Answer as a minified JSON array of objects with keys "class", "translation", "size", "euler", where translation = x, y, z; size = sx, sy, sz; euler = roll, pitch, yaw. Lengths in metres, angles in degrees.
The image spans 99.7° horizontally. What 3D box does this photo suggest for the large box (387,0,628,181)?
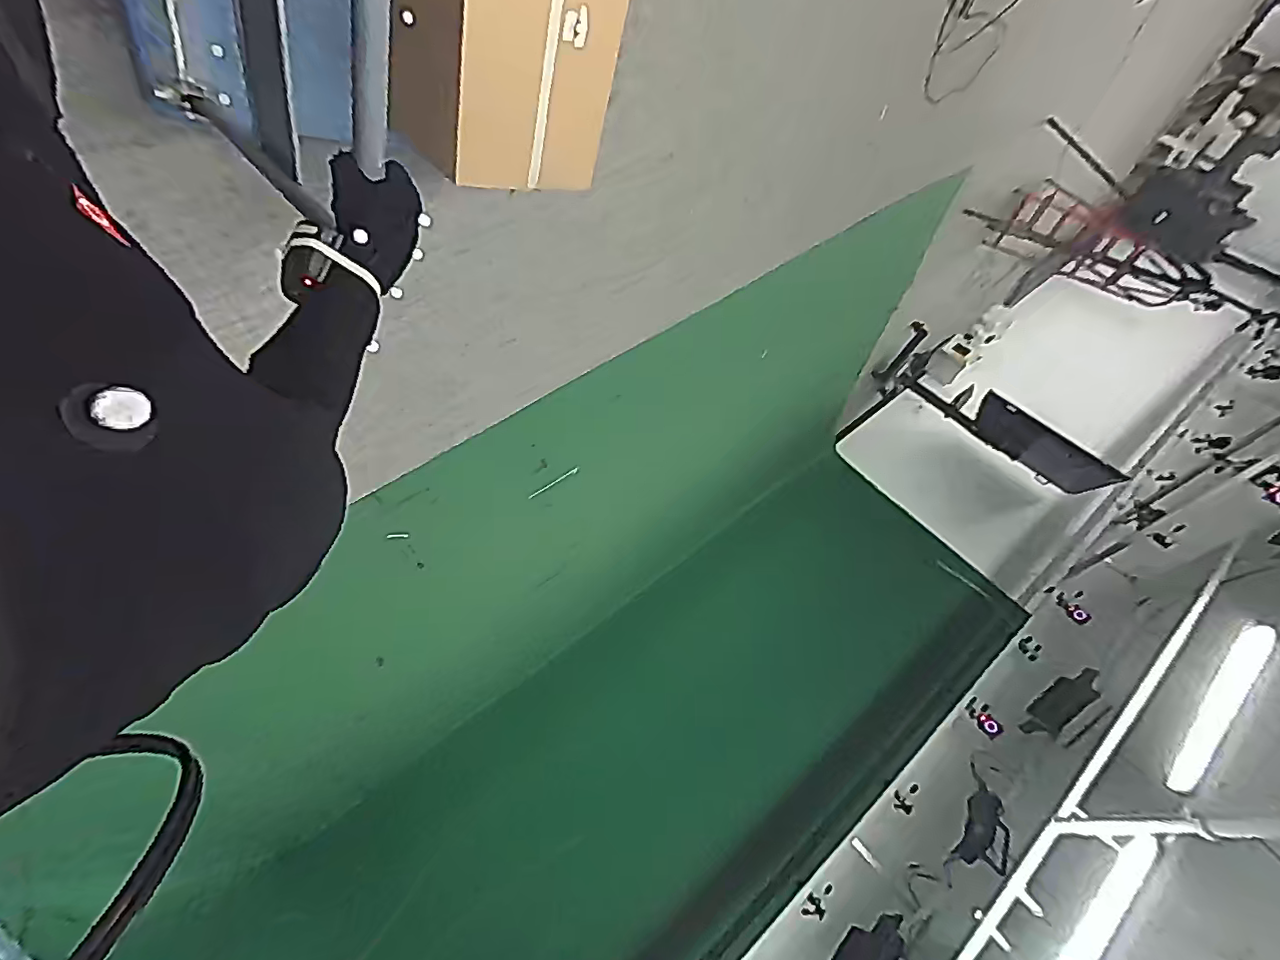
[{"class":"large box","translation":[-0.252,-0.823,0.993],"size":[0.320,0.320,0.408],"euler":[-24,148,-37]}]
